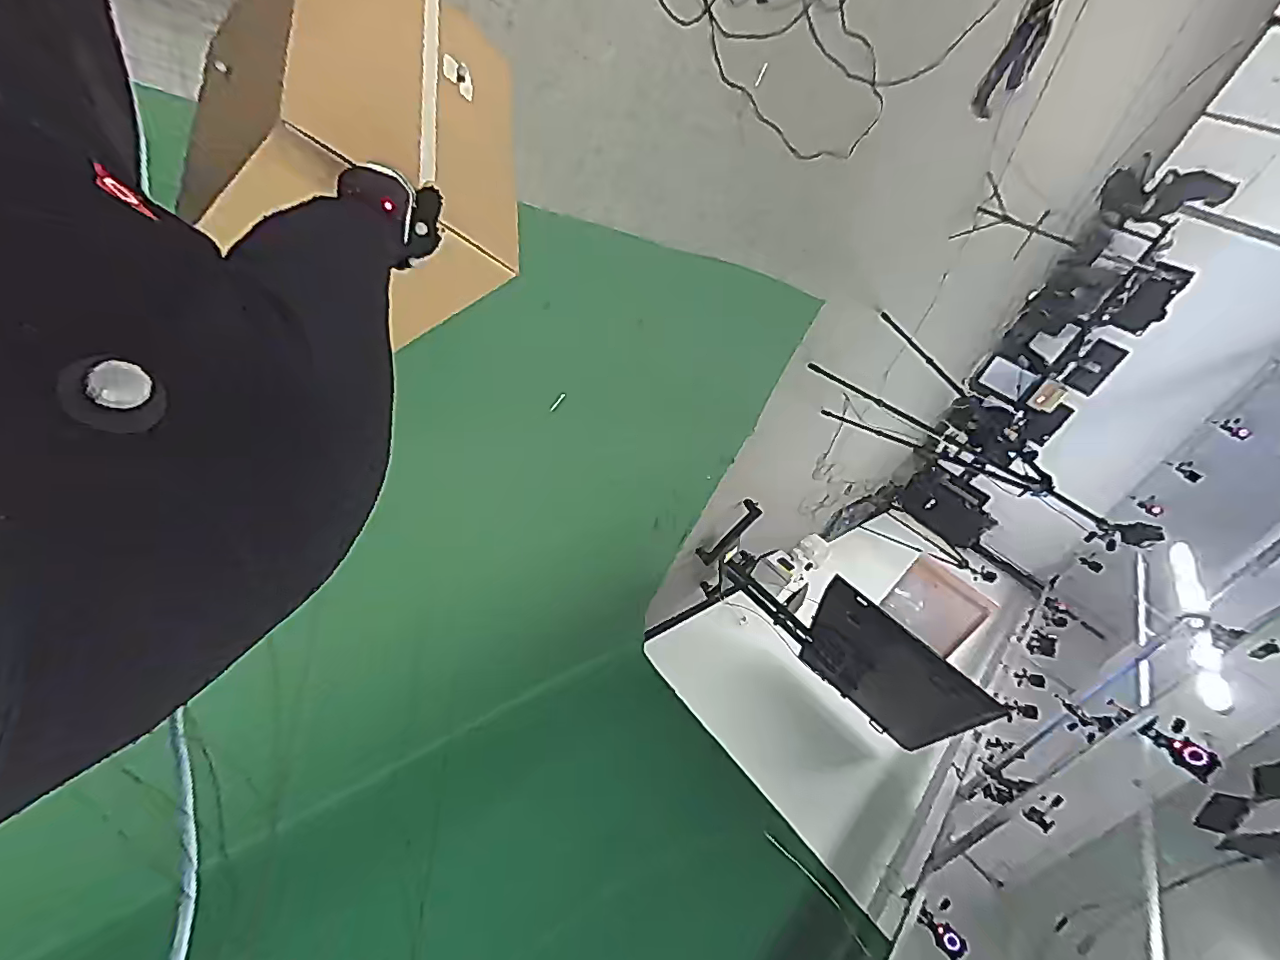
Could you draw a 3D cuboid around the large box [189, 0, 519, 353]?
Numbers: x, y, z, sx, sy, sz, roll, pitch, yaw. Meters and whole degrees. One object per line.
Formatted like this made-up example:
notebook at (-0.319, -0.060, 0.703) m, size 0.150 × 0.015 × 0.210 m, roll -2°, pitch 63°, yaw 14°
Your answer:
large box at (-0.407, -0.465, 0.796) m, size 0.320 × 0.408 × 0.320 m, roll -18°, pitch 160°, yaw 31°
